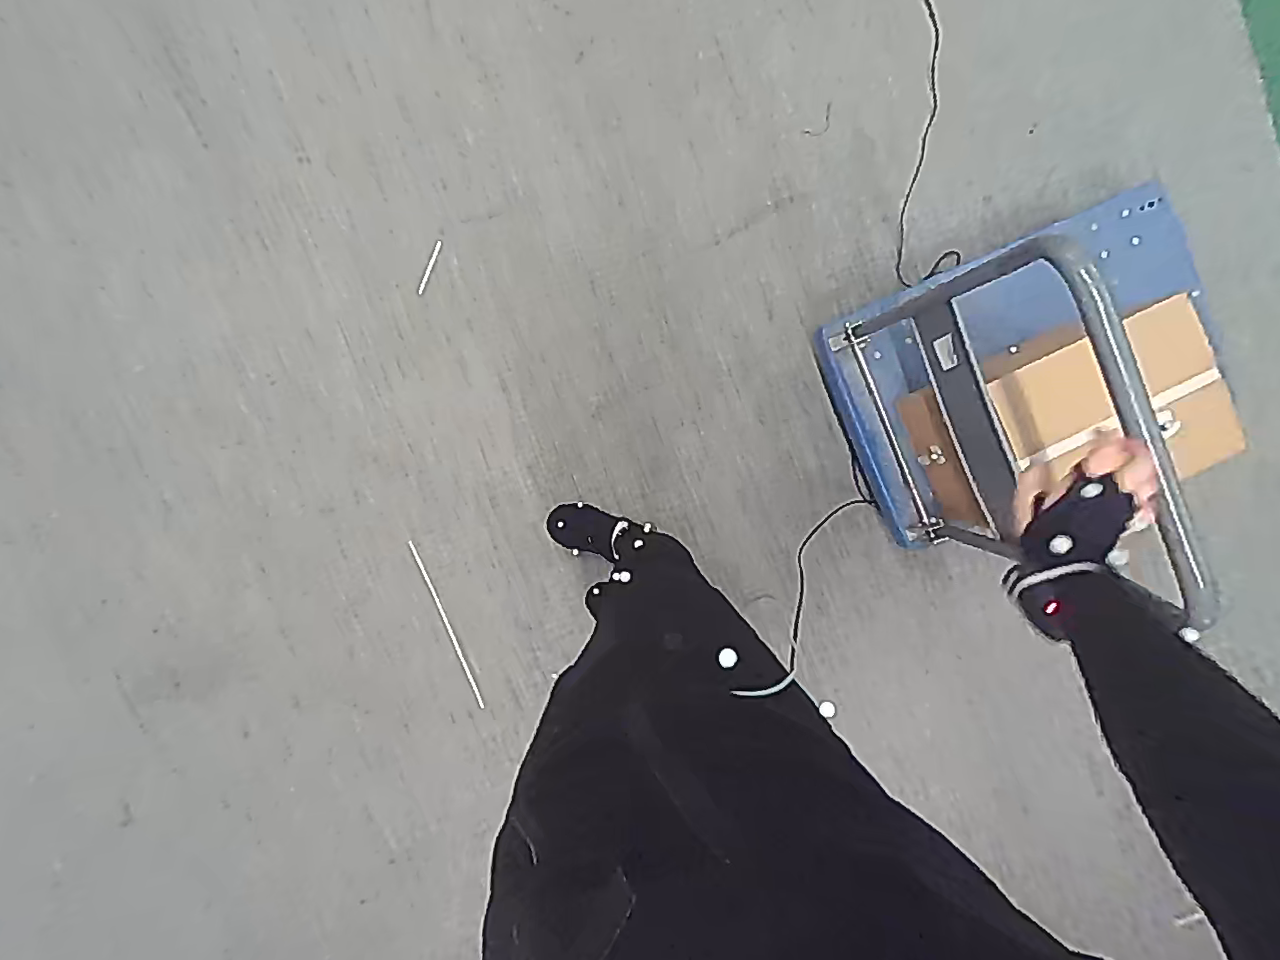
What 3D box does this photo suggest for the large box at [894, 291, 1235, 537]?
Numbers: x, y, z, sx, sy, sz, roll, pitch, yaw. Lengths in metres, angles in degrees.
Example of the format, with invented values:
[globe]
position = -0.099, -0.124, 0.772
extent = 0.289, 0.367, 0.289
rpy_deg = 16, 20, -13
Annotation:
[large box]
position = 0.830, -0.122, 1.113
extent = 0.408, 0.320, 0.320
rpy_deg = -25, 94, -2
